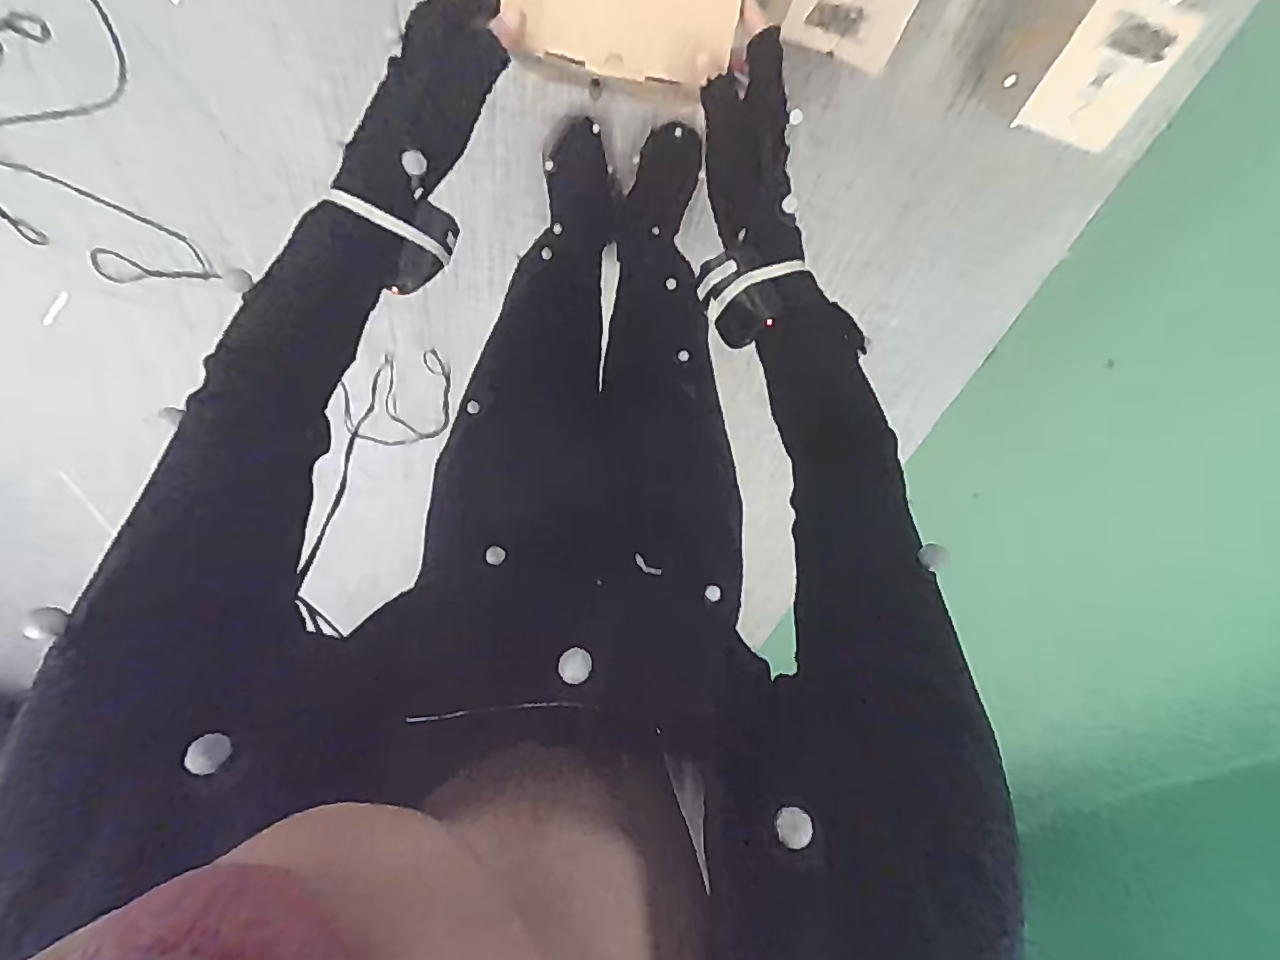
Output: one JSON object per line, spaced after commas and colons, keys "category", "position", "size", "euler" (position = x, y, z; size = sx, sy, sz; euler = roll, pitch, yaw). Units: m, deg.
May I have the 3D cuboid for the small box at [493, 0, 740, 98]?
{"category": "small box", "position": [-0.012, -0.408, 0.403], "size": [0.168, 0.176, 0.179], "euler": [6, 123, -8]}

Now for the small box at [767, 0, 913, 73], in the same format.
{"category": "small box", "position": [0.295, -0.727, 0.770], "size": [0.168, 0.176, 0.179], "euler": [14, 134, -12]}
